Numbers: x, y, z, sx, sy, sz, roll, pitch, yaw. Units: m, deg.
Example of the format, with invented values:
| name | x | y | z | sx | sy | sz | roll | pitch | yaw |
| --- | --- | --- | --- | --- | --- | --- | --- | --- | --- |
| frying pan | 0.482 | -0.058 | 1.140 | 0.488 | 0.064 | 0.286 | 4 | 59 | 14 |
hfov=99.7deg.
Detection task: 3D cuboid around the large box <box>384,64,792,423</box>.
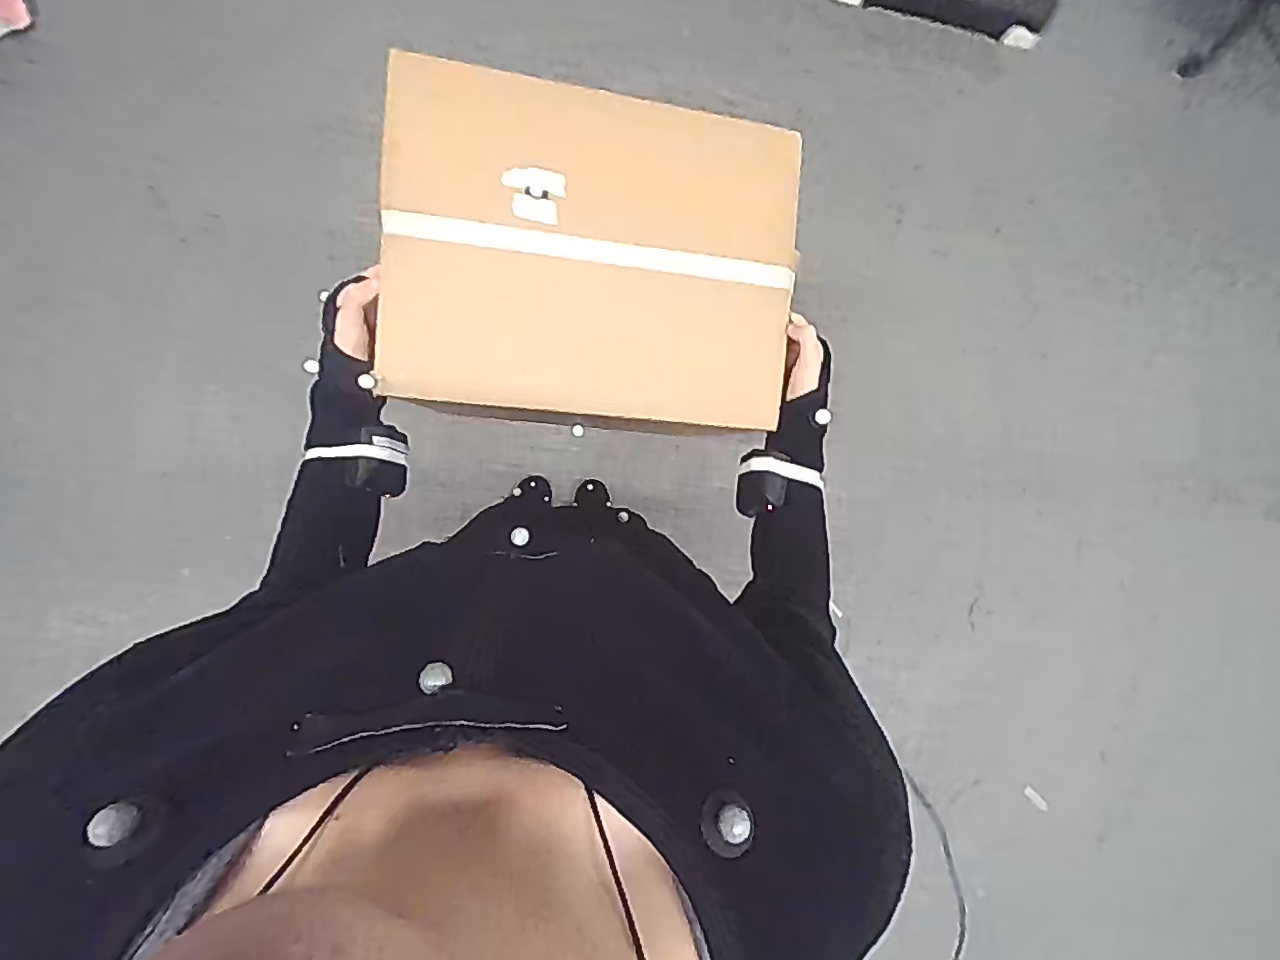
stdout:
| name | x | y | z | sx | sy | sz | roll | pitch | yaw |
| --- | --- | --- | --- | --- | --- | --- | --- | --- | --- |
| large box | -0.066 | -0.239 | 0.691 | 0.408 | 0.320 | 0.320 | 4 | 93 | -10 |
